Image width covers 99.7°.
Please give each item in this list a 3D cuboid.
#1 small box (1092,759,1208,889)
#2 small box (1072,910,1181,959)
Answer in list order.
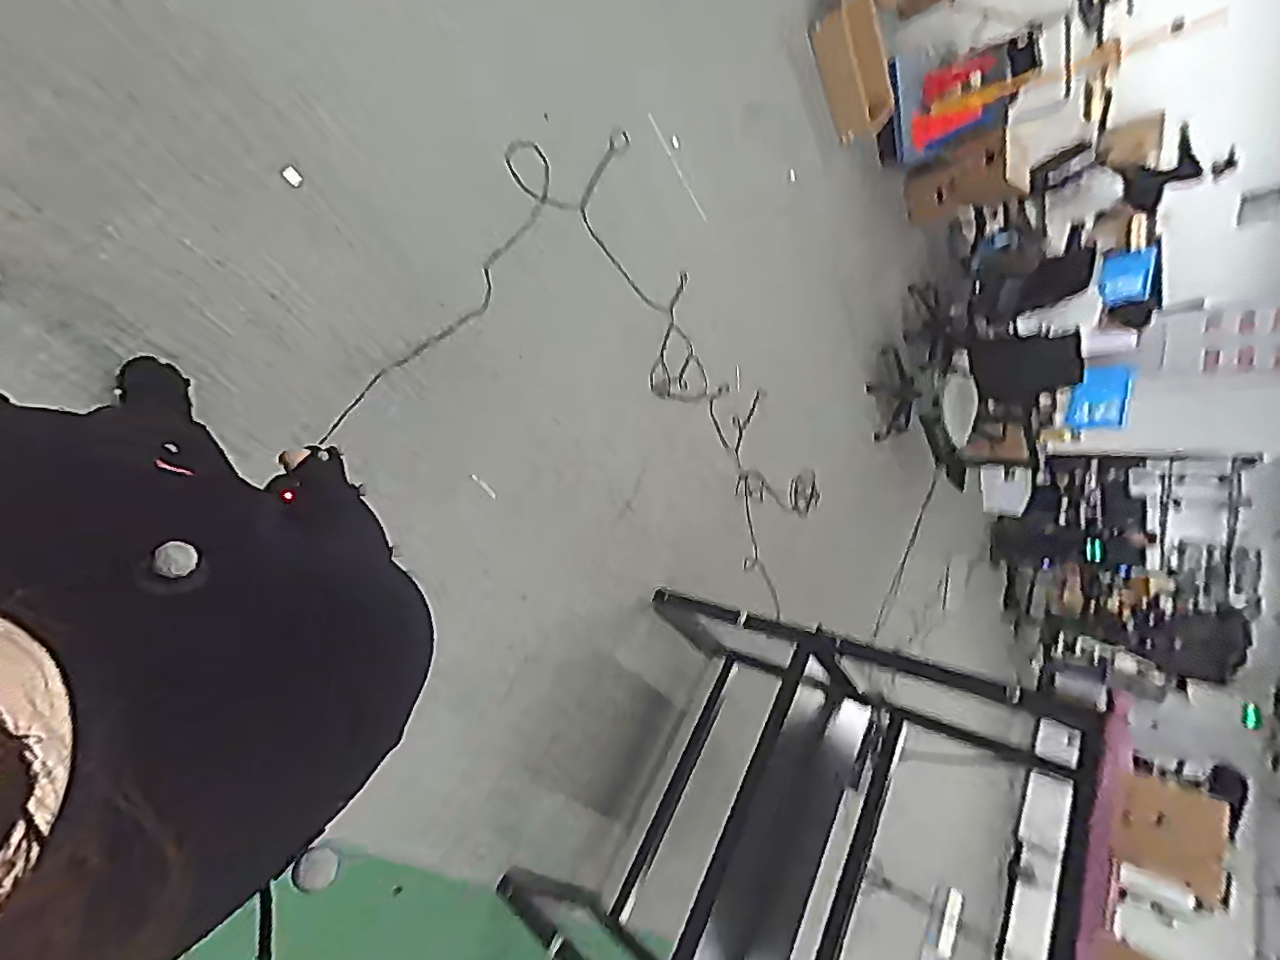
[{"bbox_3d":[1.106,0.739,1.177,0.179,0.176,0.168,48,63,-36],"label":"small box"},{"bbox_3d":[0.955,0.998,1.058,0.168,0.176,0.179,48,60,-37],"label":"small box"}]
